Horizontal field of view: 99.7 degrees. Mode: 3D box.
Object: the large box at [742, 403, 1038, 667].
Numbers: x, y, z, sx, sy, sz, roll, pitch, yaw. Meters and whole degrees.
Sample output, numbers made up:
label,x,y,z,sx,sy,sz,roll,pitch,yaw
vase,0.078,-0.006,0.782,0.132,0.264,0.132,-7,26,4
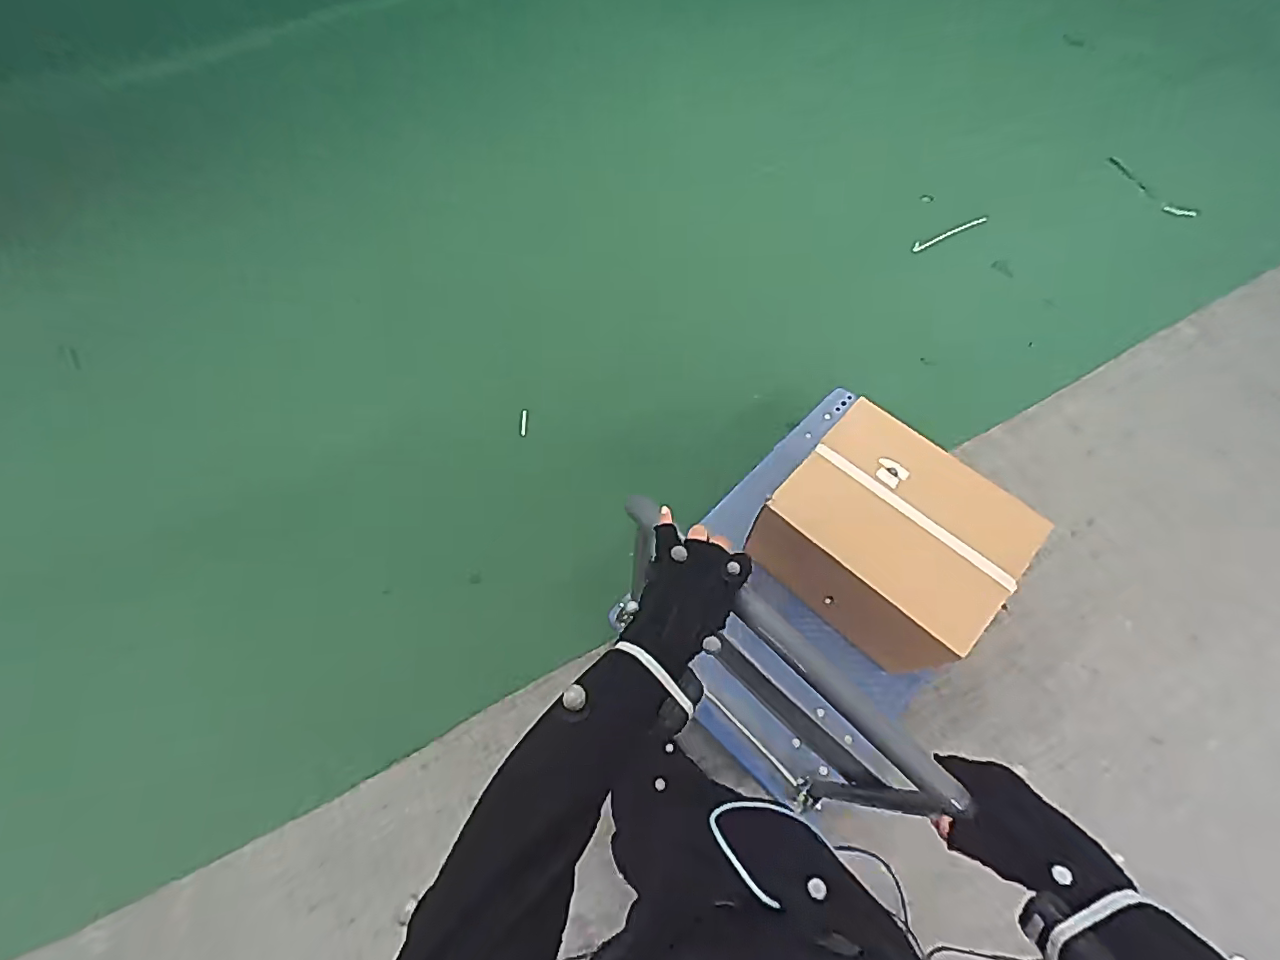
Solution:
label,x,y,z,sx,sy,sz,roll,pitch,yaw
large box,0.476,0.124,1.120,0.408,0.320,0.320,40,72,18
